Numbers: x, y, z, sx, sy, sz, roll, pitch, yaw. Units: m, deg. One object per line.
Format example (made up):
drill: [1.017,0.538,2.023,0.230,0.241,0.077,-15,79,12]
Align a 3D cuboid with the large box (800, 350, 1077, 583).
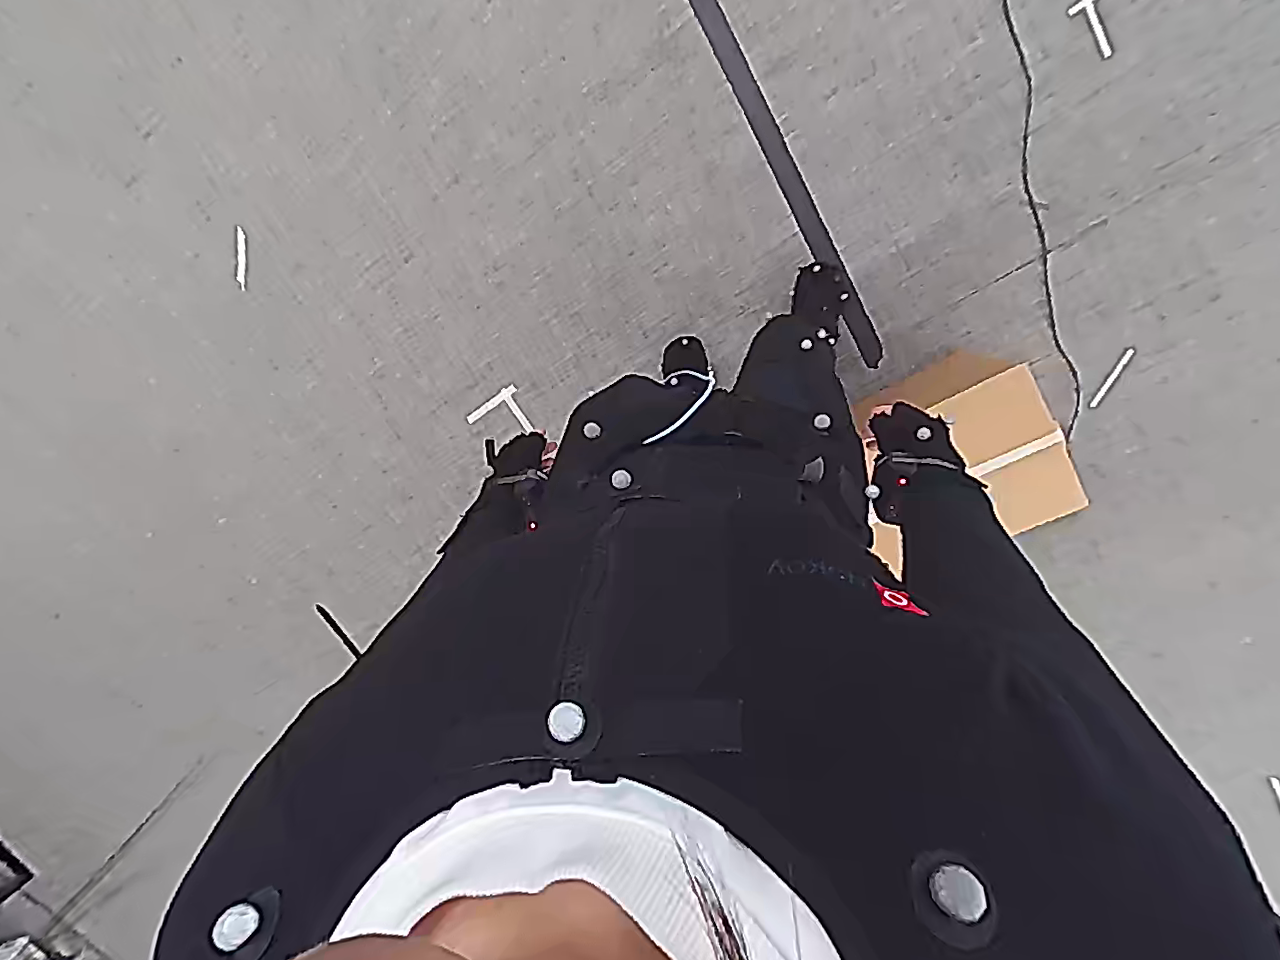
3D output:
large box: [0.616,-0.042,1.195,0.408,0.320,0.320,-28,100,18]
